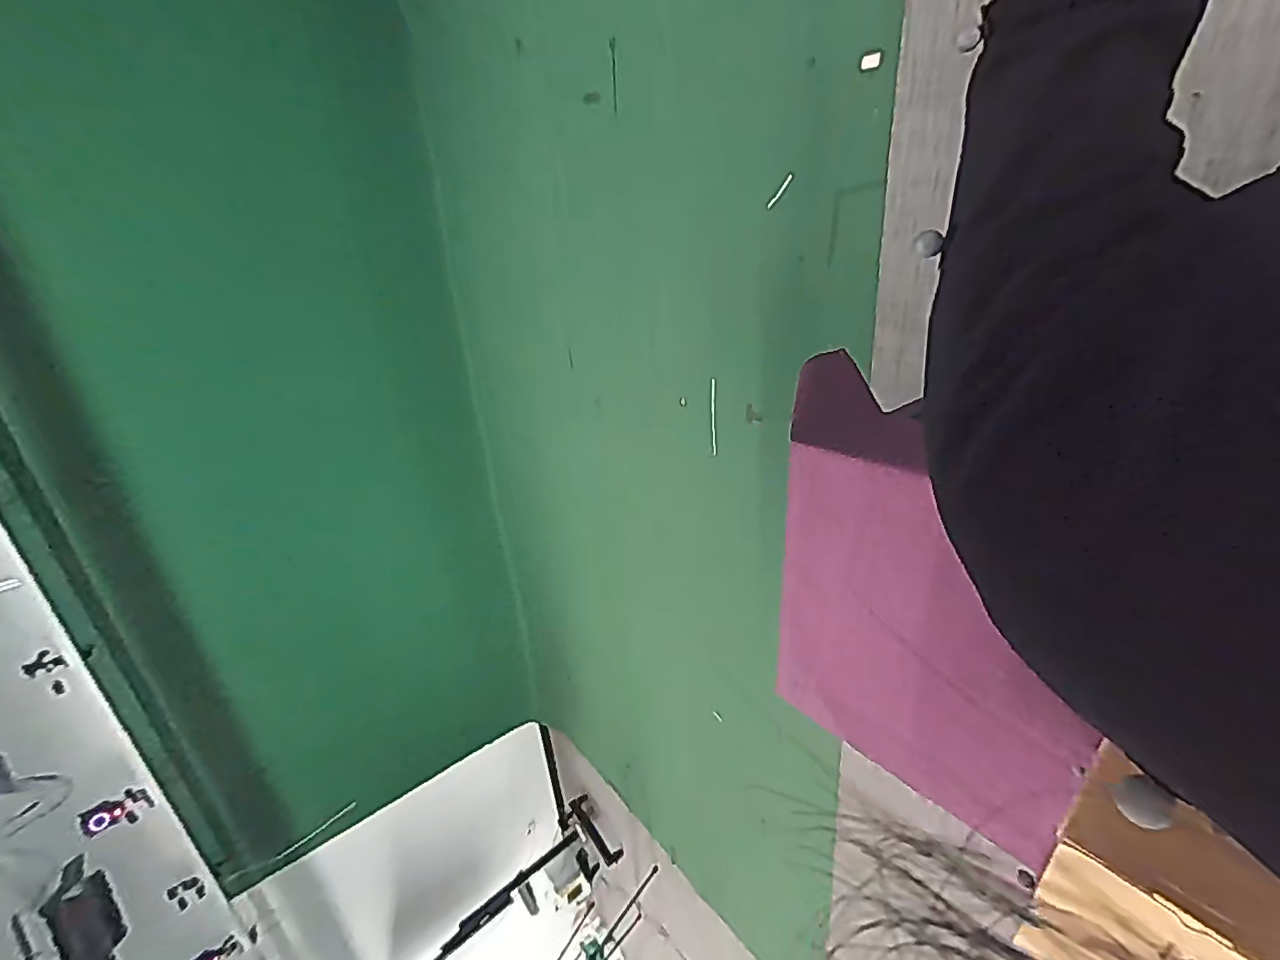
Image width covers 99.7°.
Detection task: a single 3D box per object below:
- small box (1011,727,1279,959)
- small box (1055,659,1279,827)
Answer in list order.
[{"bbox_3d":[0.476,0.372,0.486,0.168,0.176,0.179,25,126,45],"label":"small box"},{"bbox_3d":[0.601,0.337,0.588,0.168,0.176,0.179,28,128,44],"label":"small box"}]
